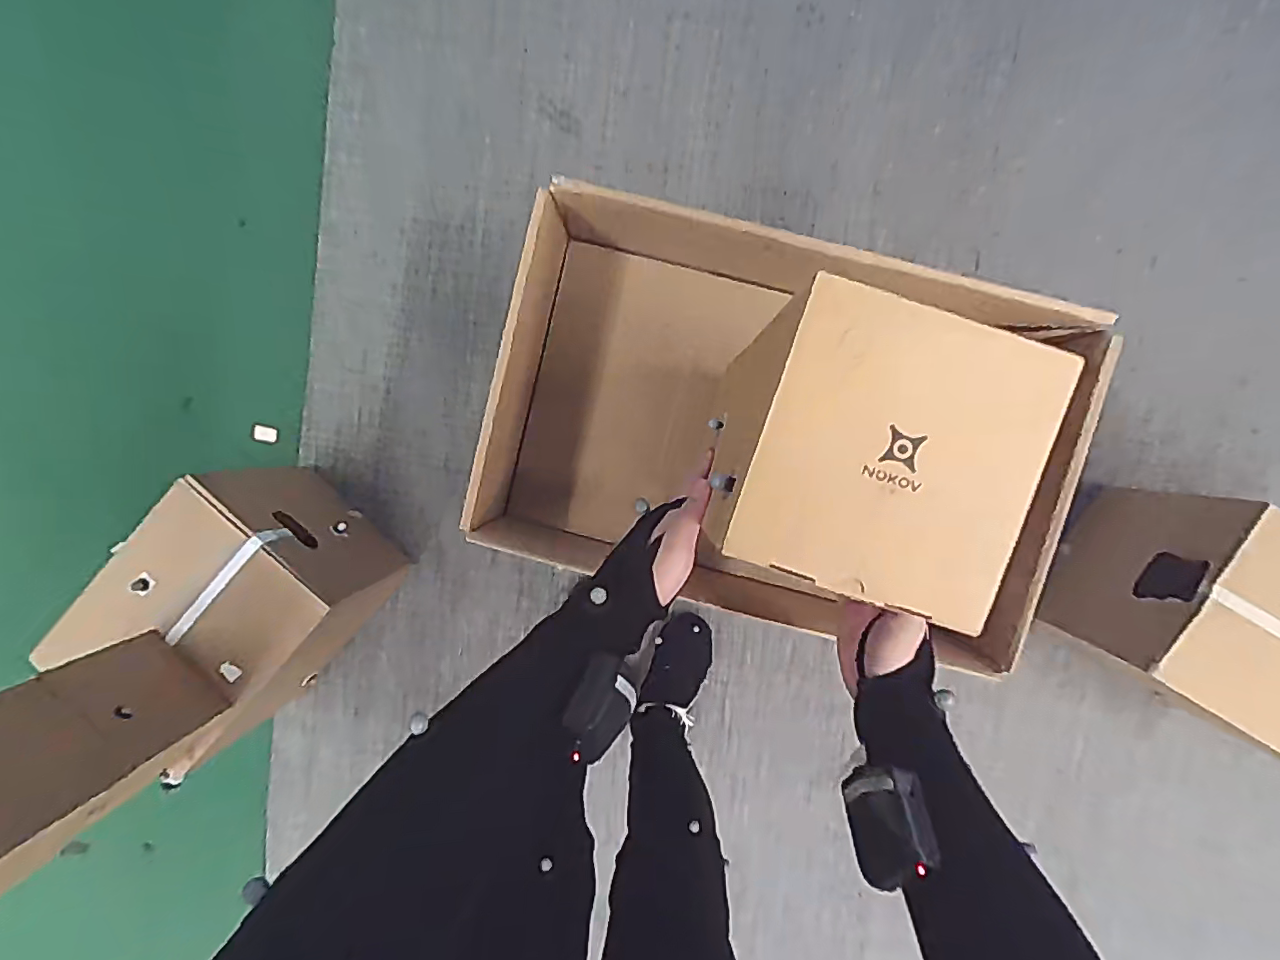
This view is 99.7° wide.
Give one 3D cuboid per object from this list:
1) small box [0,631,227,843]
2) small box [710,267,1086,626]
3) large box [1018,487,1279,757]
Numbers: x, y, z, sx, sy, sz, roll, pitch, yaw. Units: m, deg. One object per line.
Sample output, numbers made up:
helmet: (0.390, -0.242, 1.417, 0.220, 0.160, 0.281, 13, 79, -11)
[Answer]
small box: (-0.754, 0.347, 0.768, 0.168, 0.176, 0.179, -43, 92, 3)
small box: (0.159, -0.023, 0.399, 0.168, 0.176, 0.179, 18, 94, -1)
large box: (1.022, 0.250, 0.966, 0.408, 0.320, 0.320, 31, 94, 0)
